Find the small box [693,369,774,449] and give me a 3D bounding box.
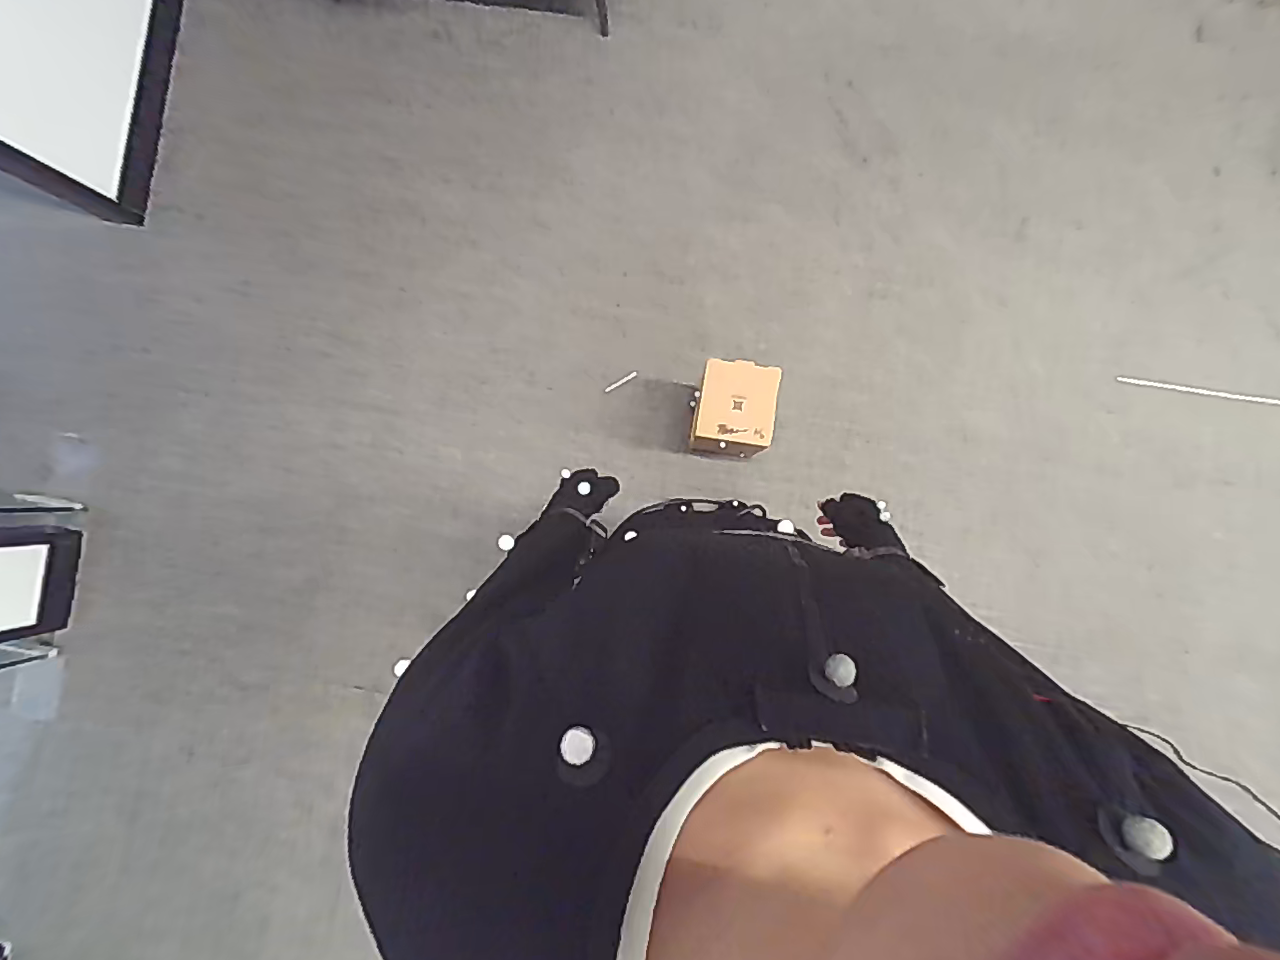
[{"bbox_3d":[0.234,-0.177,1.403,0.179,0.176,0.168,10,89,4],"label":"small box"}]
